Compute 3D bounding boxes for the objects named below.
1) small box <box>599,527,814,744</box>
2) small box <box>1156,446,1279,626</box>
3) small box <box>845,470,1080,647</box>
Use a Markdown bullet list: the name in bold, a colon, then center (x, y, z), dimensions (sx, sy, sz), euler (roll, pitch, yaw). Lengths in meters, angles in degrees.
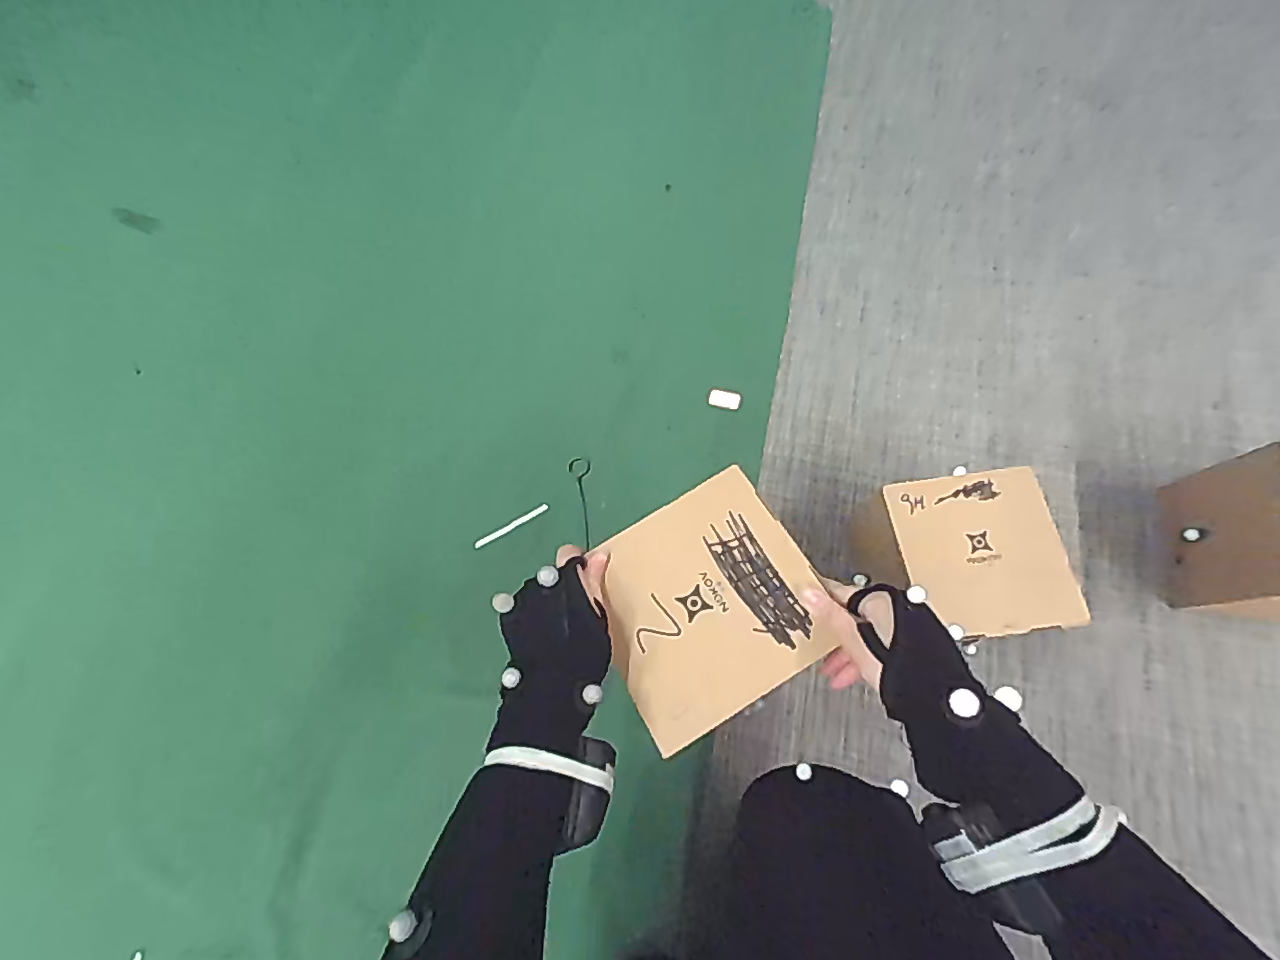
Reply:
- **small box**: center (0.076, 0.188, 0.651), dimensions (0.179, 0.176, 0.168), euler (-32, 70, -7)
- **small box**: center (0.760, 0.072, 0.619), dimensions (0.179, 0.176, 0.168), euler (8, 71, 7)
- **small box**: center (0.364, 0.103, 0.651), dimensions (0.168, 0.176, 0.179), euler (-7, 71, 3)
